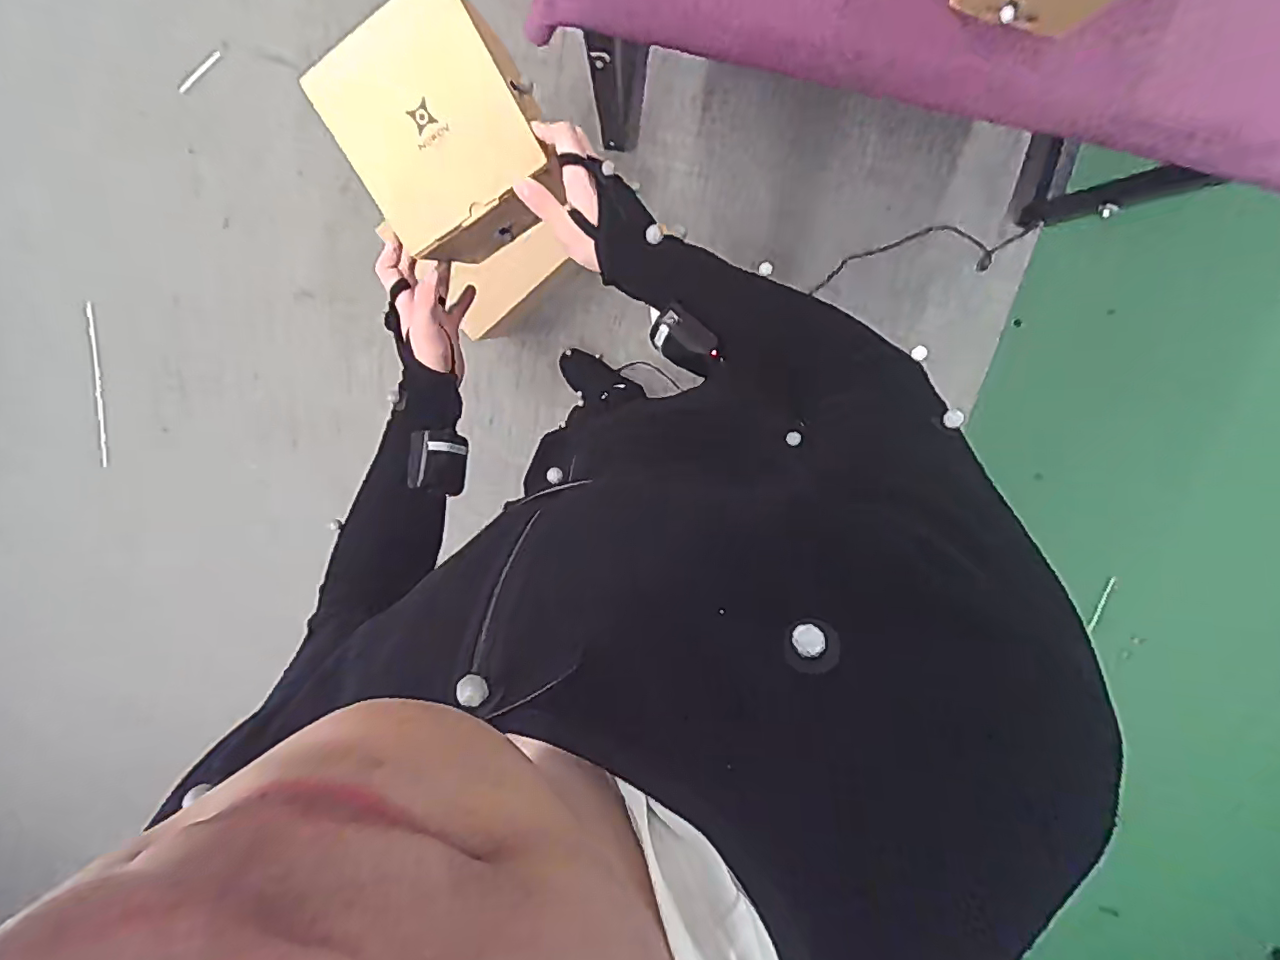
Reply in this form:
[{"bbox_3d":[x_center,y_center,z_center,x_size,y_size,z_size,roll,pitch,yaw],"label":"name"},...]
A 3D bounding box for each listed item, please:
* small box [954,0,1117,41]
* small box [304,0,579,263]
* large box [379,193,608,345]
[{"bbox_3d":[0.495,-0.656,0.612,0.168,0.176,0.179,12,105,-3],"label":"small box"},{"bbox_3d":[-0.183,-0.344,0.559,0.168,0.176,0.179,-27,107,13],"label":"small box"},{"bbox_3d":[-0.329,-0.580,1.320,0.408,0.320,0.320,-39,103,9],"label":"large box"}]
